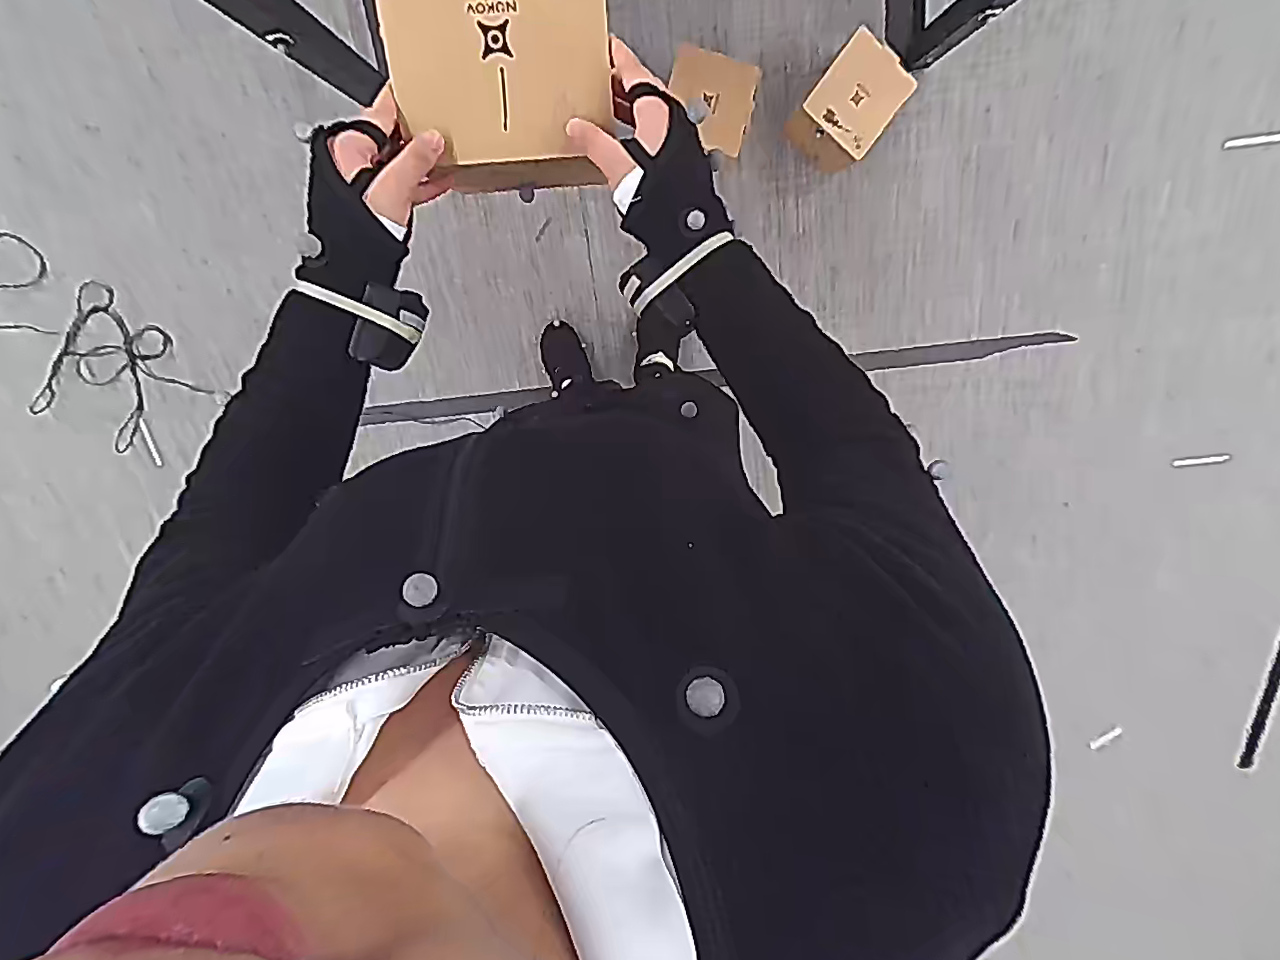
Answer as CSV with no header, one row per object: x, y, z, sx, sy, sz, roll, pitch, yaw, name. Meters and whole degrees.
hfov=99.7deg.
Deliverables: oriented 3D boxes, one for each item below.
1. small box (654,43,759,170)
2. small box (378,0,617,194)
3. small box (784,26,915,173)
0.134,-0.790,1.167,0.179,0.176,0.168,14,108,-5,small box
-0.110,-0.360,0.467,0.168,0.176,0.179,-5,112,-1,small box
0.438,-0.802,1.164,0.168,0.176,0.179,35,106,-12,small box
